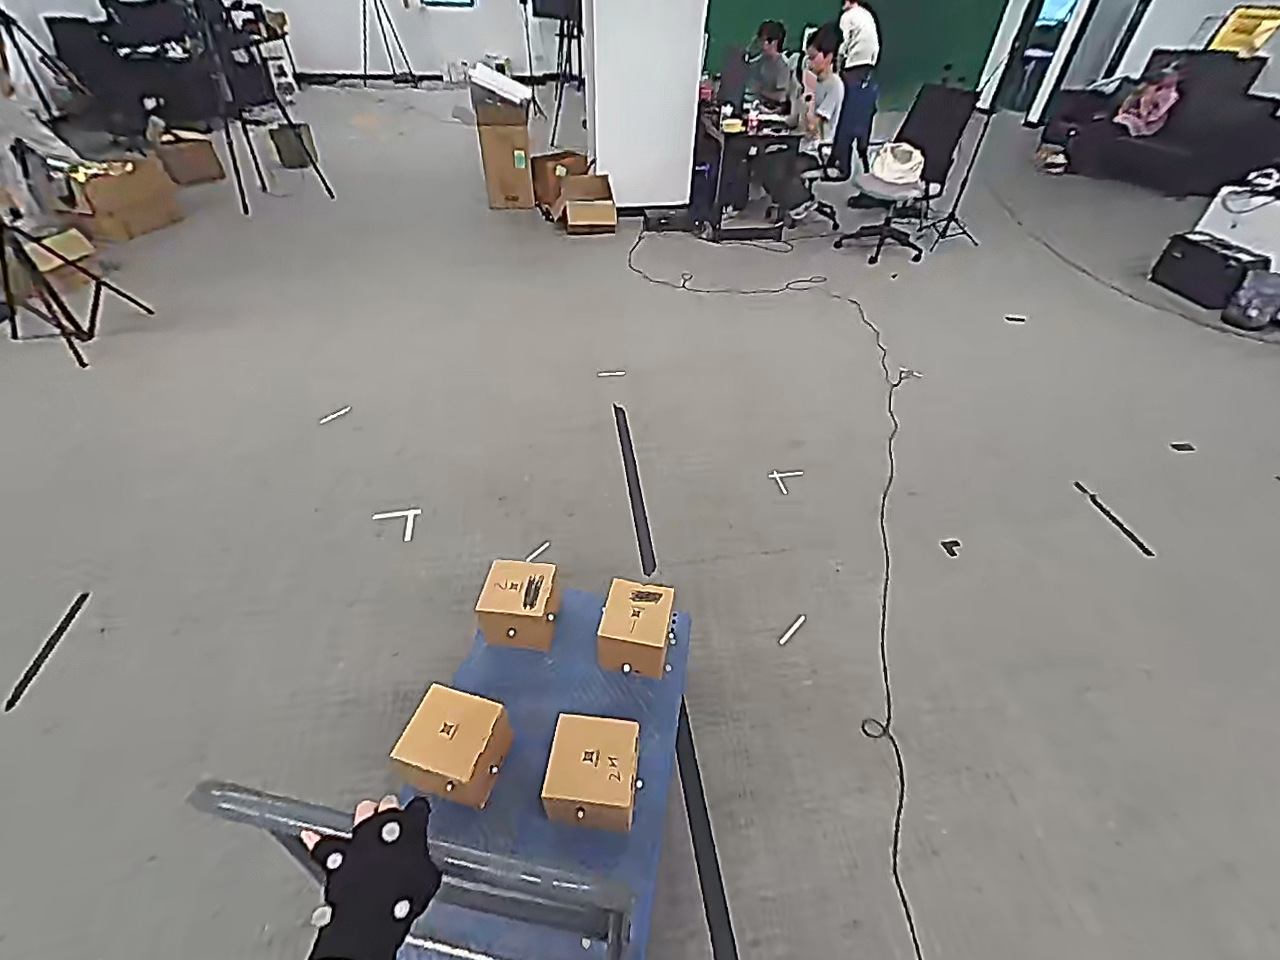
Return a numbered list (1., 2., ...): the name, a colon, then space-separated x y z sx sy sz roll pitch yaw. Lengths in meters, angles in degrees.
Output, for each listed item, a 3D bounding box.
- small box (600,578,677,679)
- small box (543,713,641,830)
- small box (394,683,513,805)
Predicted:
1. small box: -0.003 0.387 1.410 0.168 0.176 0.179 9 44 8
2. small box: -0.094 0.621 1.151 0.179 0.176 0.168 5 43 4
3. small box: -0.398 0.582 1.187 0.179 0.176 0.168 12 43 10
